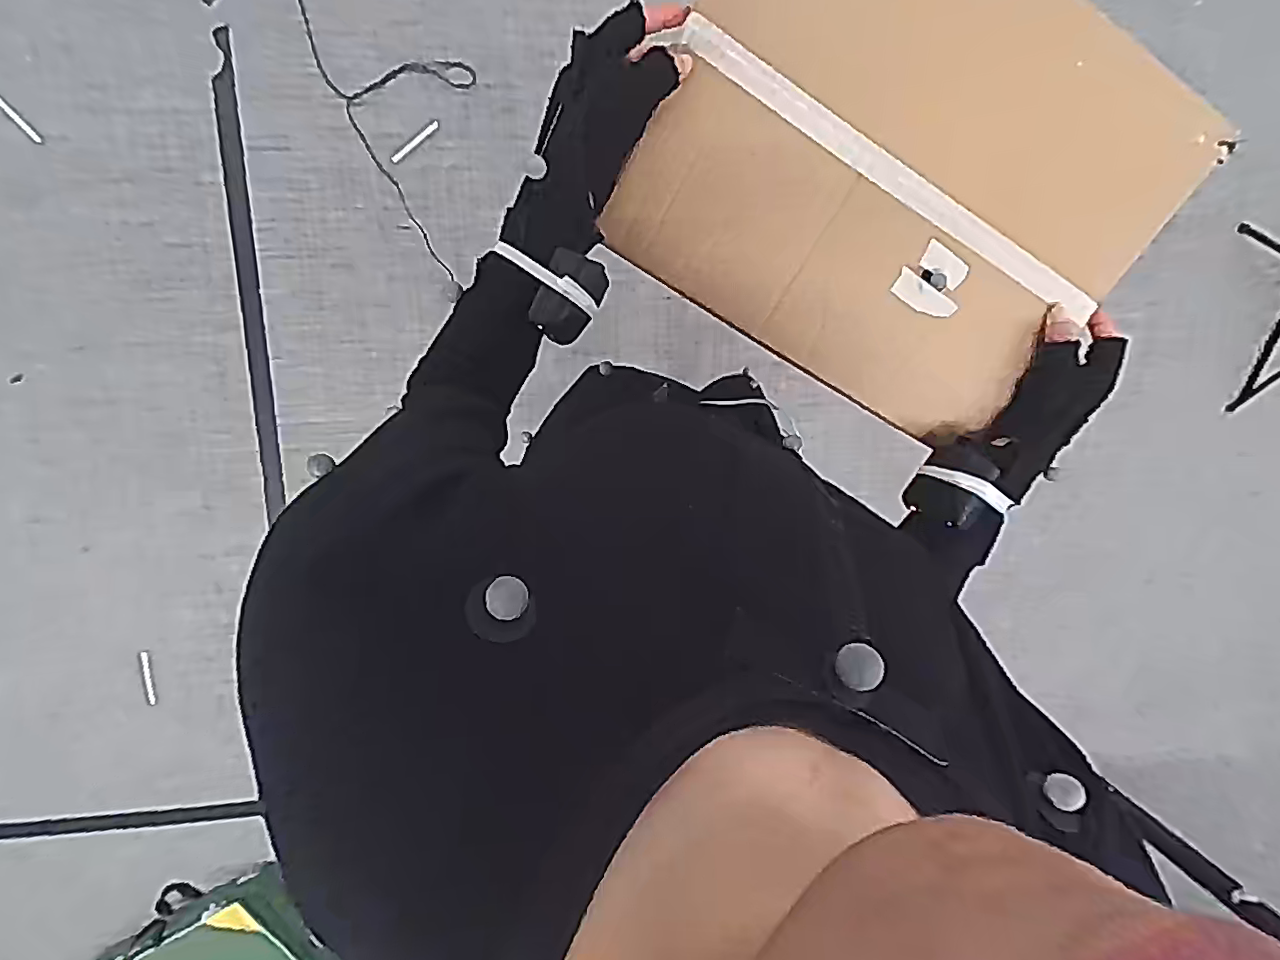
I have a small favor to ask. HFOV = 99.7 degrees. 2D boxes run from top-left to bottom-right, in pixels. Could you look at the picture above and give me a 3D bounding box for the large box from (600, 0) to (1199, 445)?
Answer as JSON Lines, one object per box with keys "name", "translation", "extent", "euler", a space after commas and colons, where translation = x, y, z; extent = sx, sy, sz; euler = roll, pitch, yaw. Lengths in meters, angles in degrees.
{"name": "large box", "translation": [0.205, -0.299, 0.584], "extent": [0.408, 0.320, 0.320], "euler": [28, 110, -12]}
